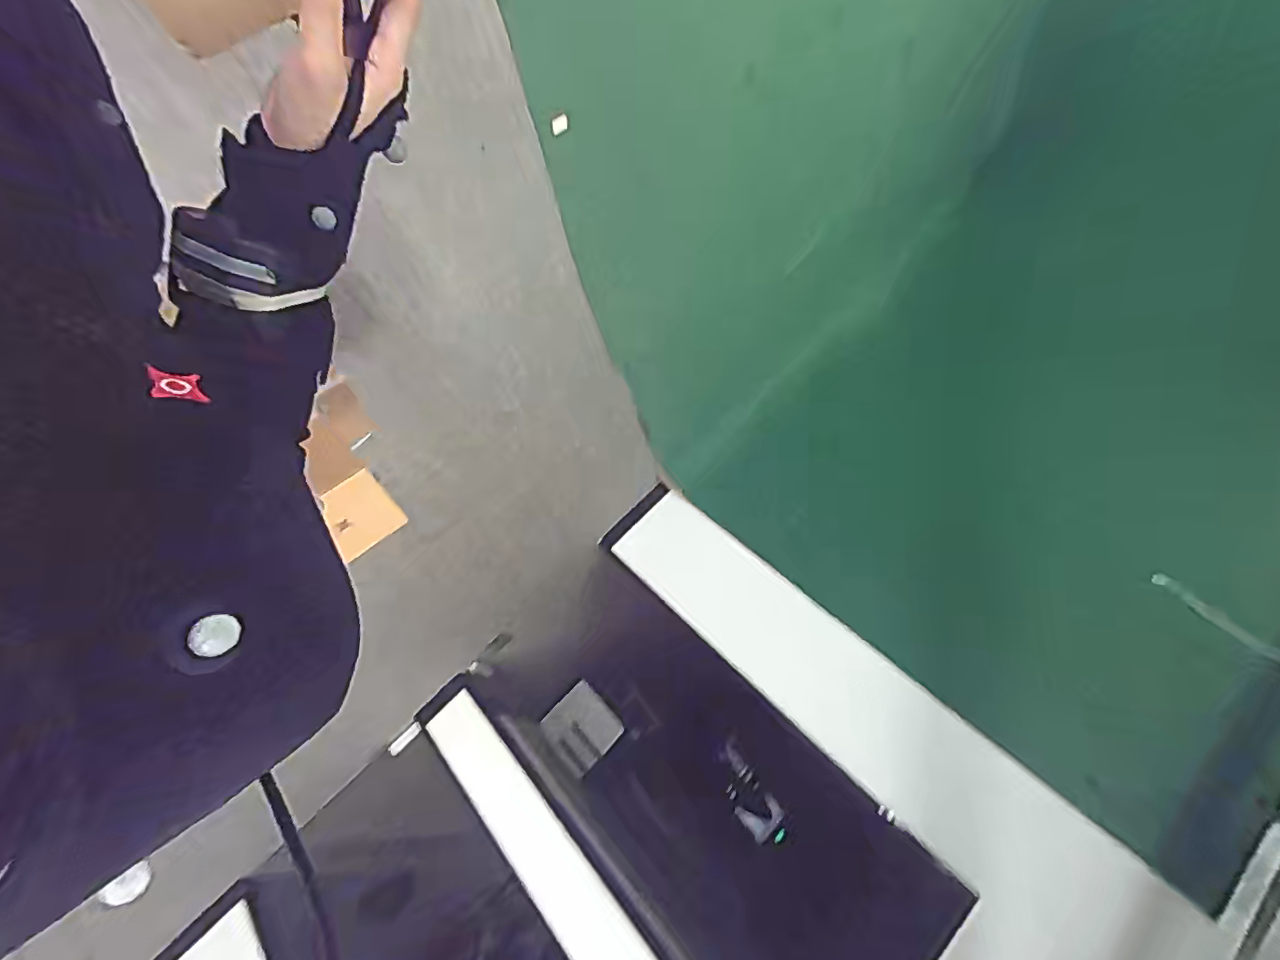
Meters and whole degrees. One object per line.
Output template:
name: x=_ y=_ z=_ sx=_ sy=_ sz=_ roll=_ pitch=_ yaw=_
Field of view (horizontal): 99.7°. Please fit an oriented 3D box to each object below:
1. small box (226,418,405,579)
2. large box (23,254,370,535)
small box: x=-0.544 y=0.027 z=0.916 sx=0.179 sy=0.176 sz=0.168 roll=-38 pitch=151 yaw=-20
large box: x=-0.854 y=-0.178 z=1.084 sx=0.408 sy=0.320 sz=0.320 roll=-38 pitch=148 yaw=-19
